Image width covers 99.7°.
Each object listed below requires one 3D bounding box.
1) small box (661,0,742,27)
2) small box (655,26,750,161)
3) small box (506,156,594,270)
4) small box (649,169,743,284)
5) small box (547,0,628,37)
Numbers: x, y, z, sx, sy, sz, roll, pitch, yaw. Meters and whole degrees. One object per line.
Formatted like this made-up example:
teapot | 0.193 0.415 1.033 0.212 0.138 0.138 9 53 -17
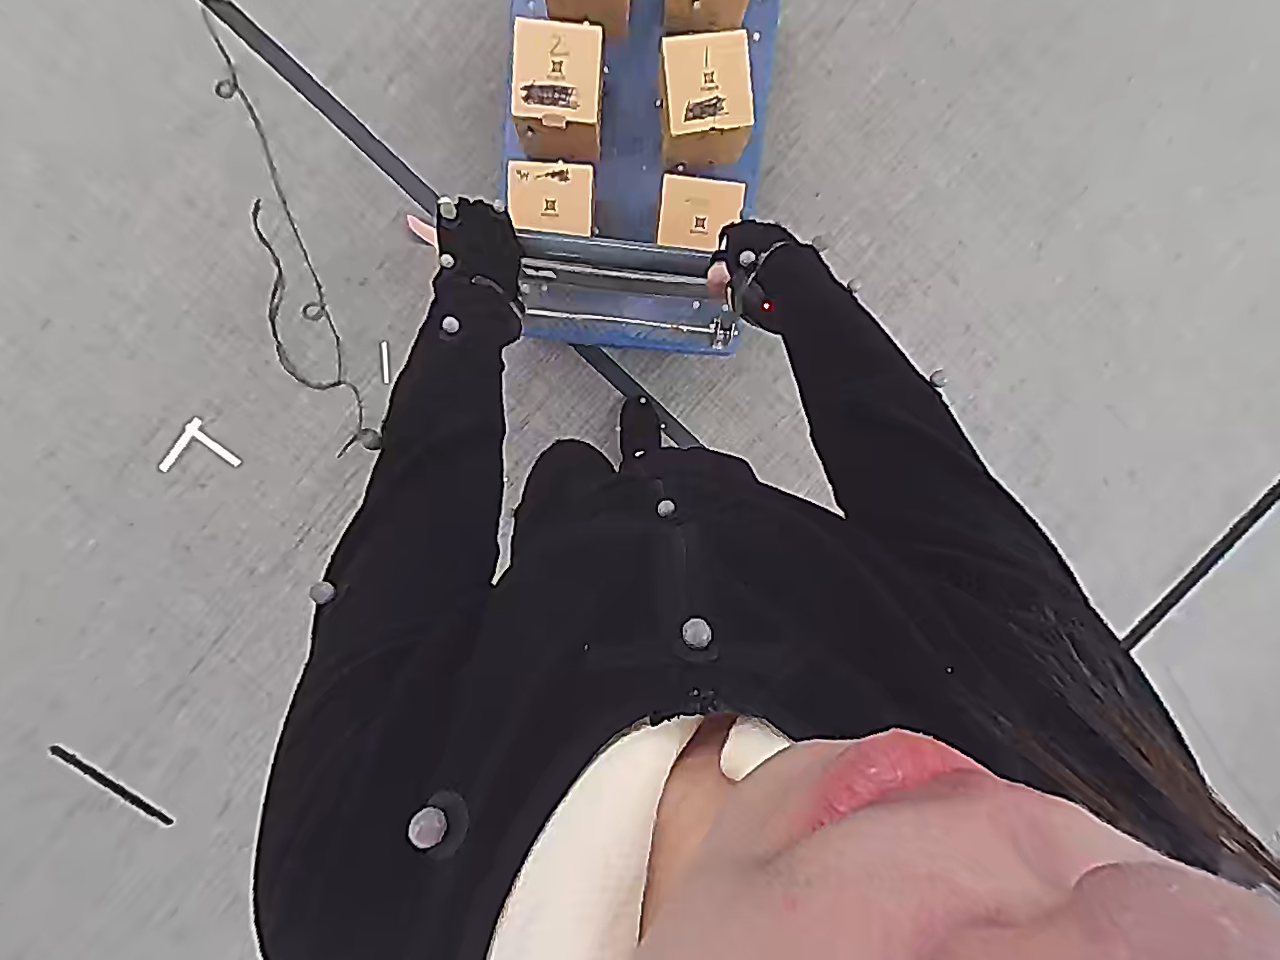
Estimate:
small box | 0.133 -1.055 1.081 0.168 0.176 0.179 2 98 -3
small box | 0.124 -0.785 1.120 0.168 0.176 0.179 -7 98 -2
small box | -0.185 -0.551 1.139 0.168 0.176 0.179 2 99 -4
small box | 0.112 -0.530 1.159 0.168 0.176 0.179 6 98 -4
small box | -0.101 -1.038 1.070 0.168 0.176 0.179 7 99 -4
